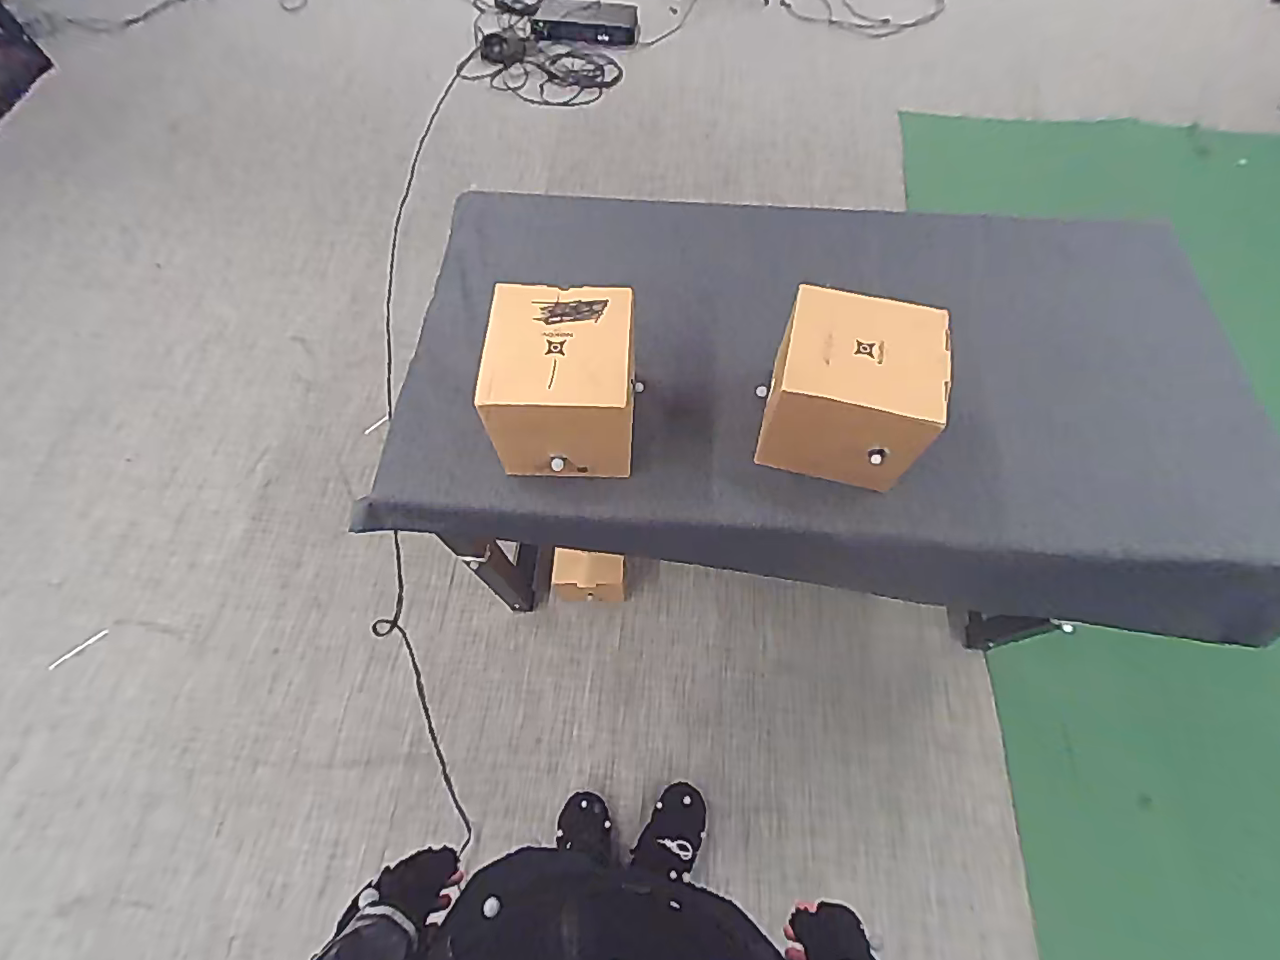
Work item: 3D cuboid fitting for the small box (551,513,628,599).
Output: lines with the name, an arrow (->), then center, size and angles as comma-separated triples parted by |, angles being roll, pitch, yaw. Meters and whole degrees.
small box -> -0.118, 0.193, 1.347 | 0.168, 0.176, 0.179 | 1, 64, 1

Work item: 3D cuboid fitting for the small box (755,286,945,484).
small box -> 0.257, -0.111, 0.684 | 0.179, 0.176, 0.168 | 12, 63, 7

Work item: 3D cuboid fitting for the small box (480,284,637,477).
small box -> -0.089, -0.121, 0.686 | 0.168, 0.176, 0.179 | 1, 63, 1
